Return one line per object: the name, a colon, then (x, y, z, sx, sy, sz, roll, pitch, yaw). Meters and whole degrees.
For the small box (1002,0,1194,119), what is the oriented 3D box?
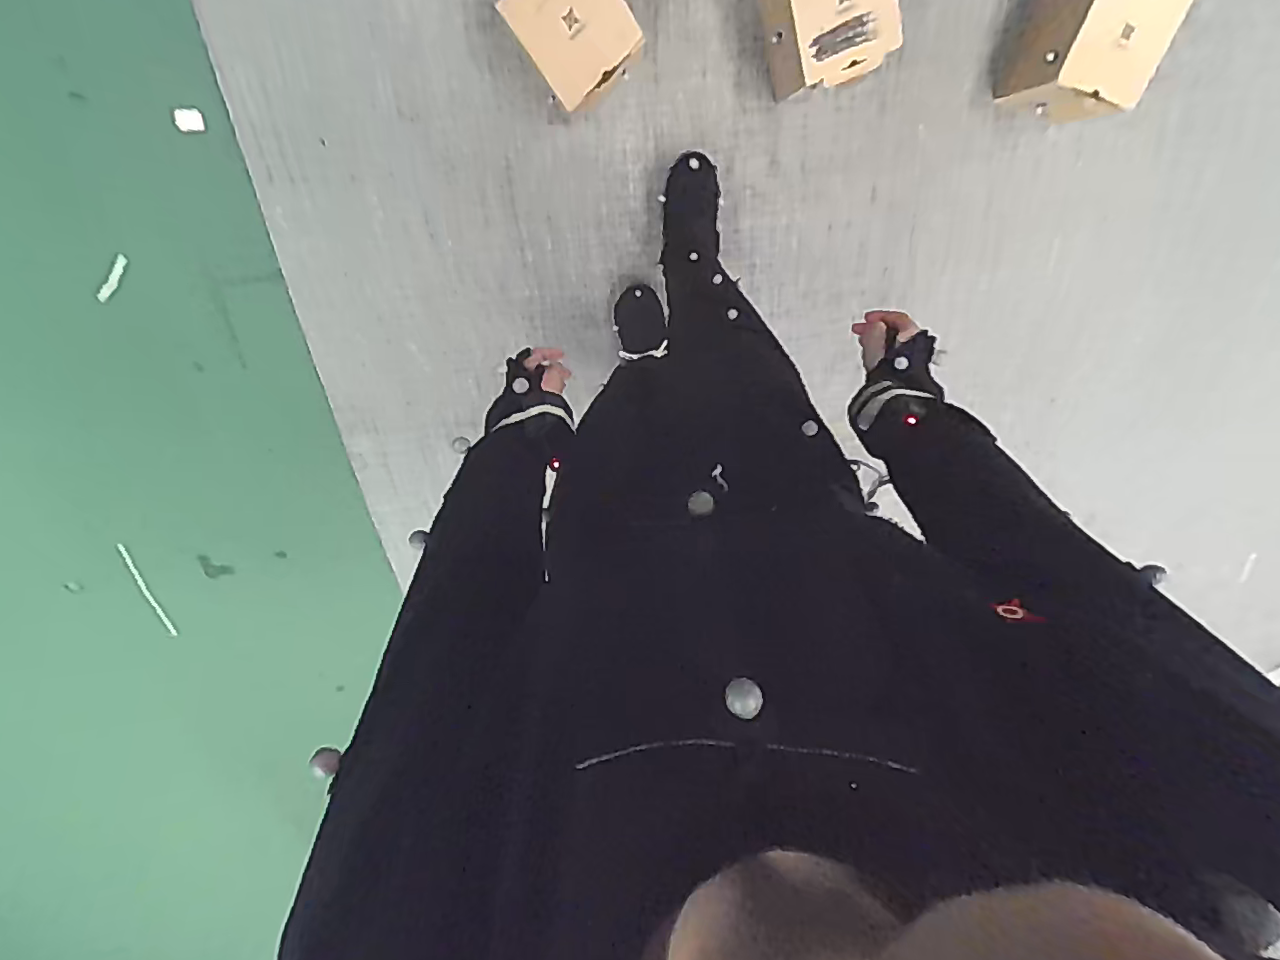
small box: (0.796, -0.772, 0.958, 0.168, 0.176, 0.179, 11, 116, -9)

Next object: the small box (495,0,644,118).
small box: (-0.111, -0.747, 0.910, 0.168, 0.176, 0.179, -37, 112, 13)
